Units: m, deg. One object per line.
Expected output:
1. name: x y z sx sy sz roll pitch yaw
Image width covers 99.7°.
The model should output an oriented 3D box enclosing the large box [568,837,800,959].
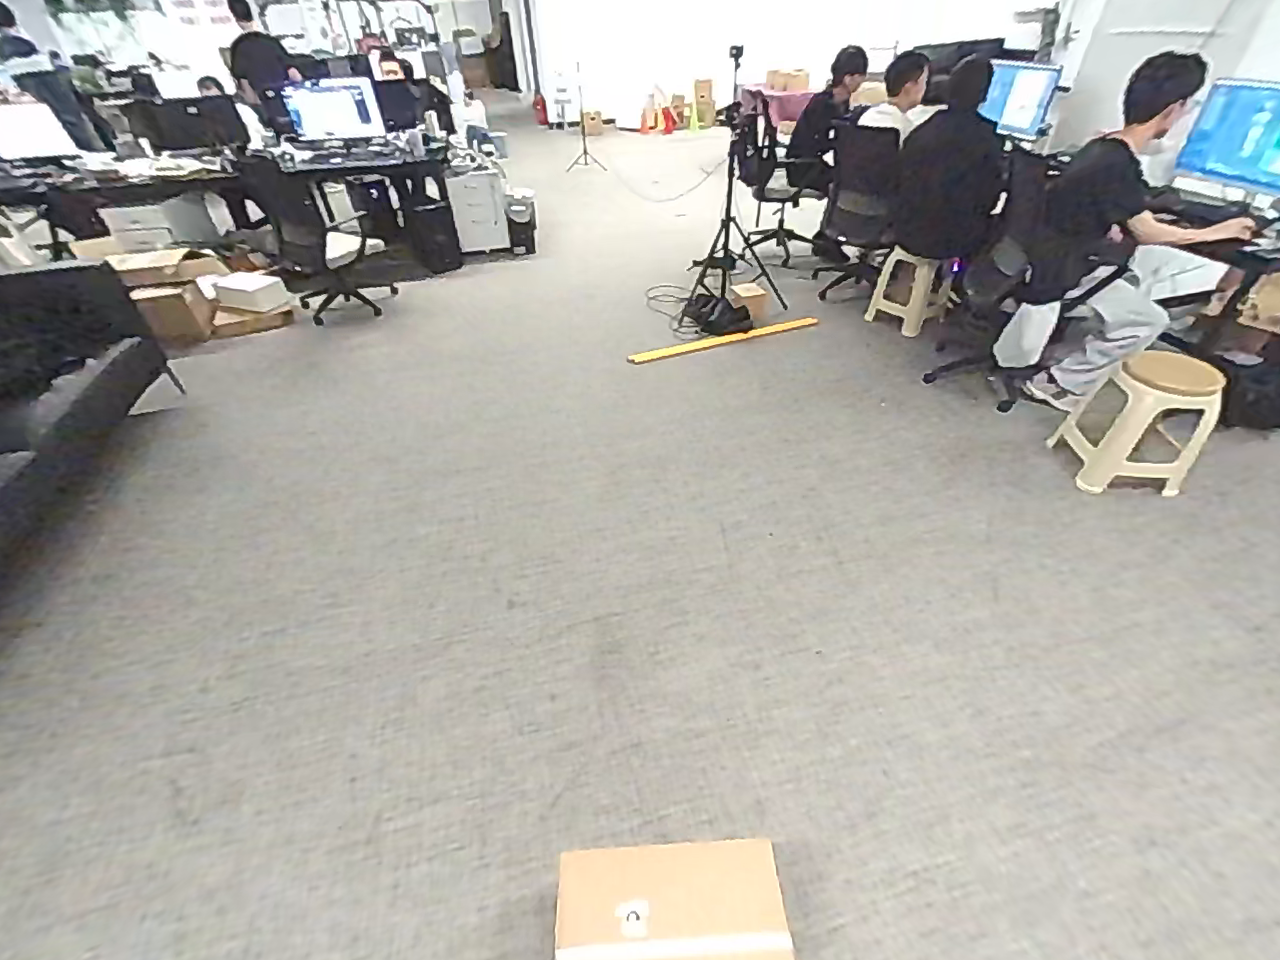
1. large box: 0.084 0.921 1.032 0.408 0.320 0.320 -5 41 1
